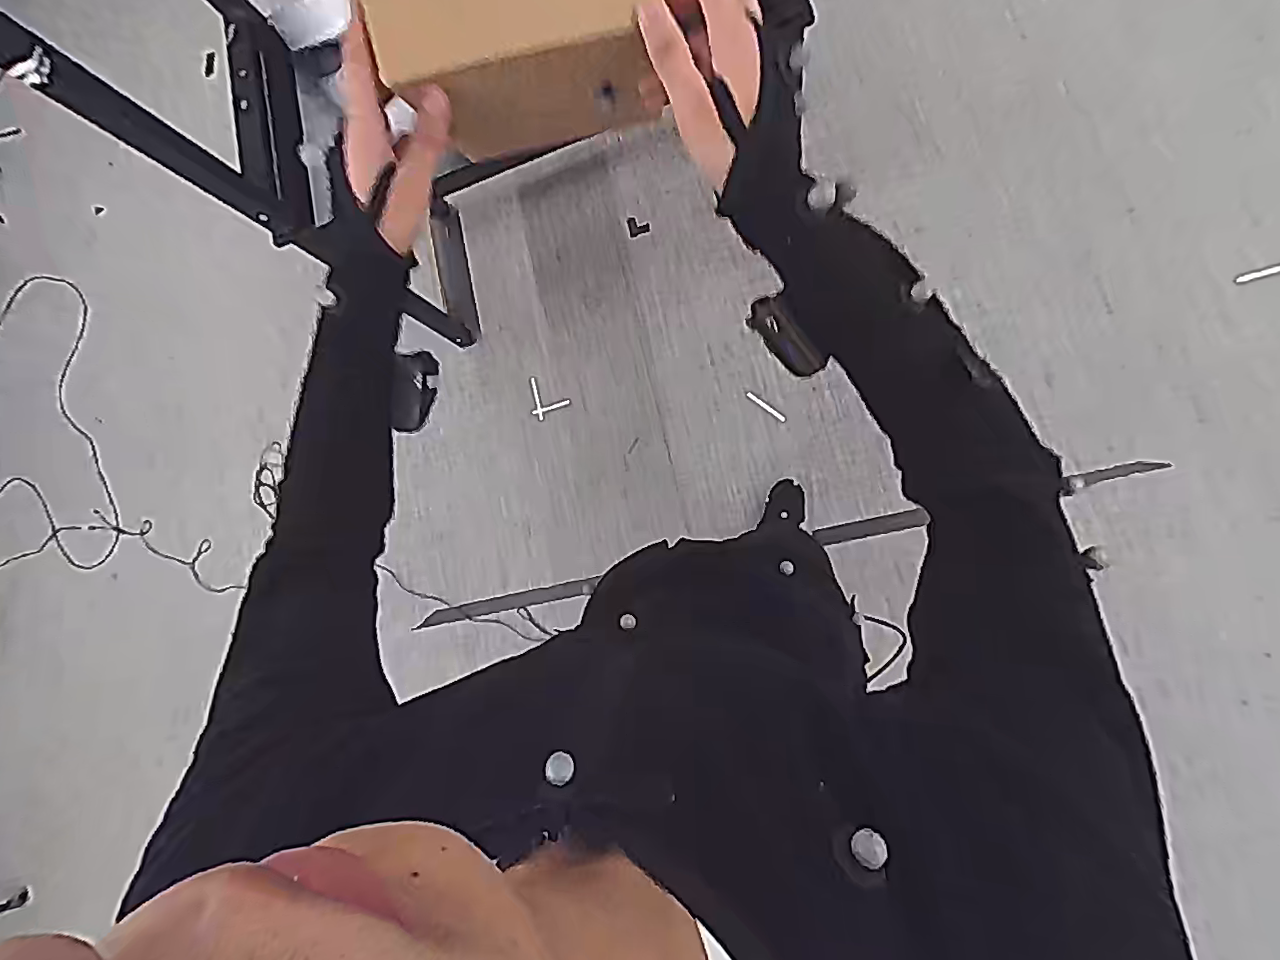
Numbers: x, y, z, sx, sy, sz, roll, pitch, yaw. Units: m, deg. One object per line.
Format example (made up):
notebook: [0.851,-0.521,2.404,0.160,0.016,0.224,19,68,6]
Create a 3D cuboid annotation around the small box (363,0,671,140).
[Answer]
small box: [-0.080,-0.357,0.362,0.179,0.176,0.168,-10,106,4]
